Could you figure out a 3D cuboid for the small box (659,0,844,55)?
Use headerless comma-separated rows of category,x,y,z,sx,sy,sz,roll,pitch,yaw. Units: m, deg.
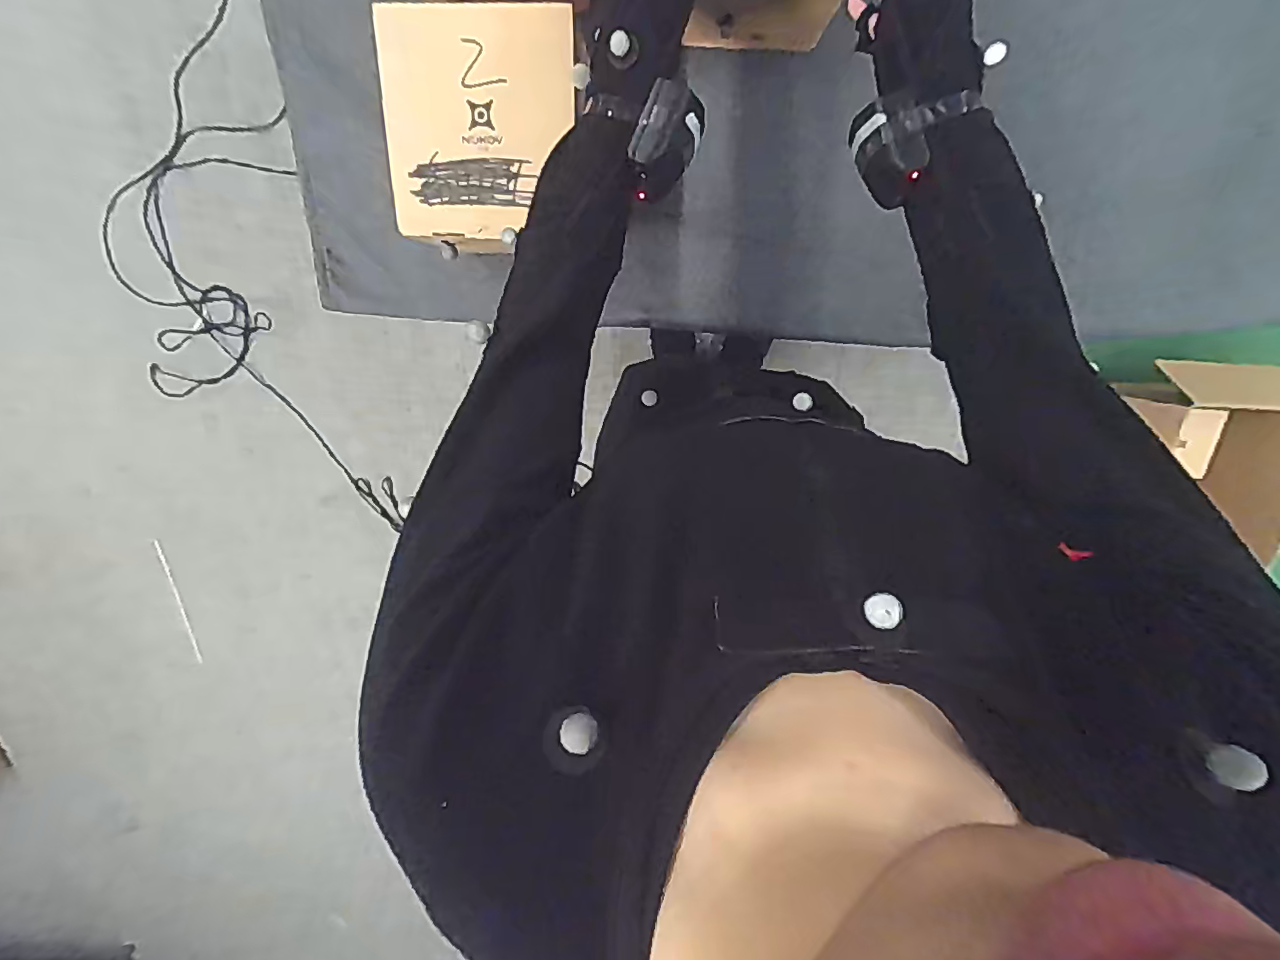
small box,0.102,-0.512,0.471,0.168,0.176,0.179,3,111,1
